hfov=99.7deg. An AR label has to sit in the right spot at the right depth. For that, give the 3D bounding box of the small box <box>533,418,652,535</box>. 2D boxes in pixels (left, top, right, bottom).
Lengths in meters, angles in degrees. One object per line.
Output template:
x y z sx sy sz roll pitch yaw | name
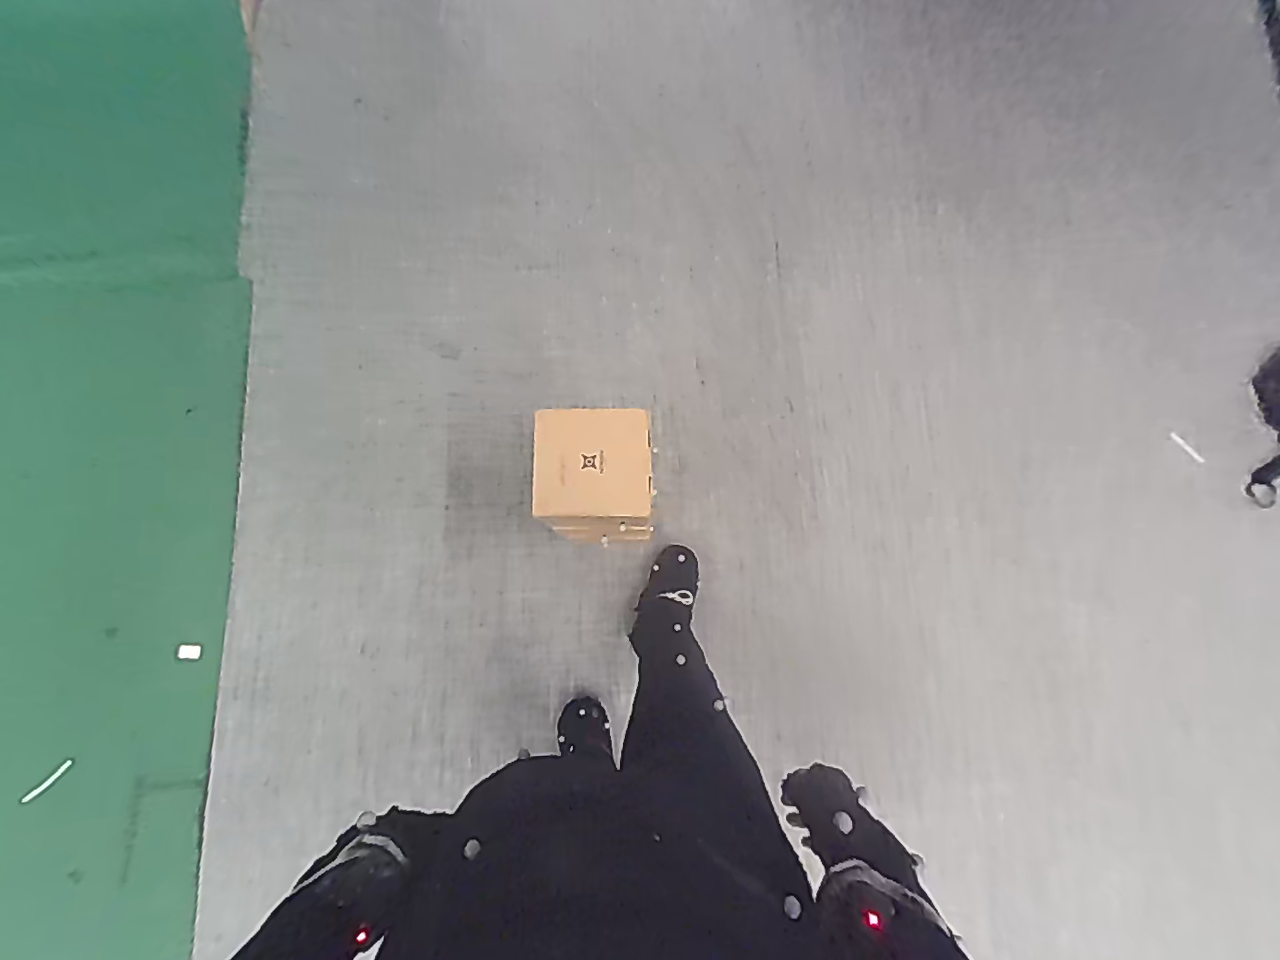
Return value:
-0.070 0.000 0.886 0.179 0.176 0.168 -1 79 1 | small box

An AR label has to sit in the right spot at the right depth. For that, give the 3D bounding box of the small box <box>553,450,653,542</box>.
-0.067 0.032 1.045 0.179 0.176 0.168 1 80 0 | small box
